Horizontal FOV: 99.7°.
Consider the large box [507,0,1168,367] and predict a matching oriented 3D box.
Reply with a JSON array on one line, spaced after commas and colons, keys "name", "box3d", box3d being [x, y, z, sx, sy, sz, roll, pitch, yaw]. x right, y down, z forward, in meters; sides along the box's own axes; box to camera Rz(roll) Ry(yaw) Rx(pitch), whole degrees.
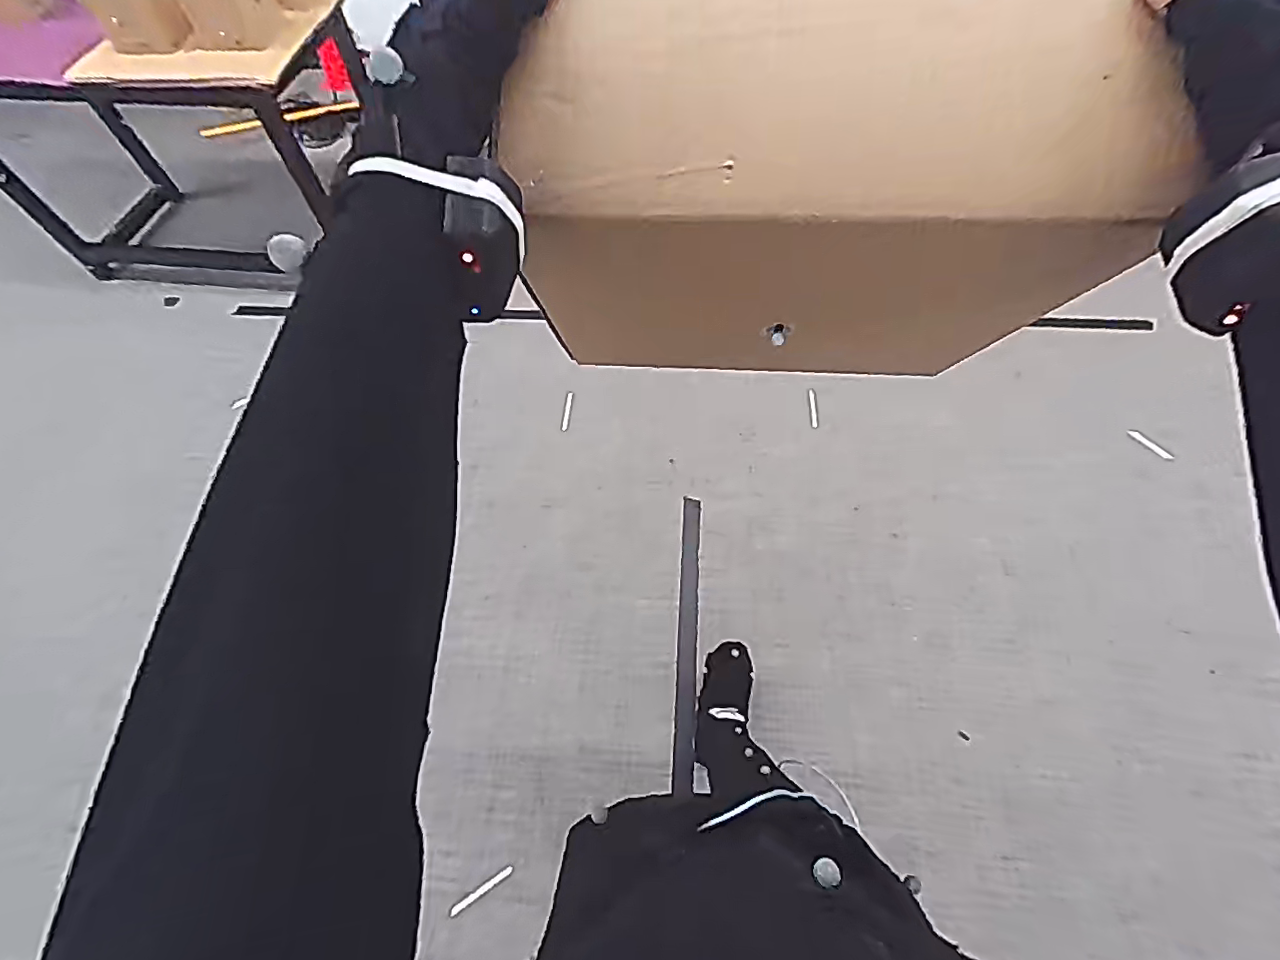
[{"name": "large box", "box3d": [0.130, -0.292, 0.489, 0.408, 0.320, 0.320, 2, 85, 5]}]
